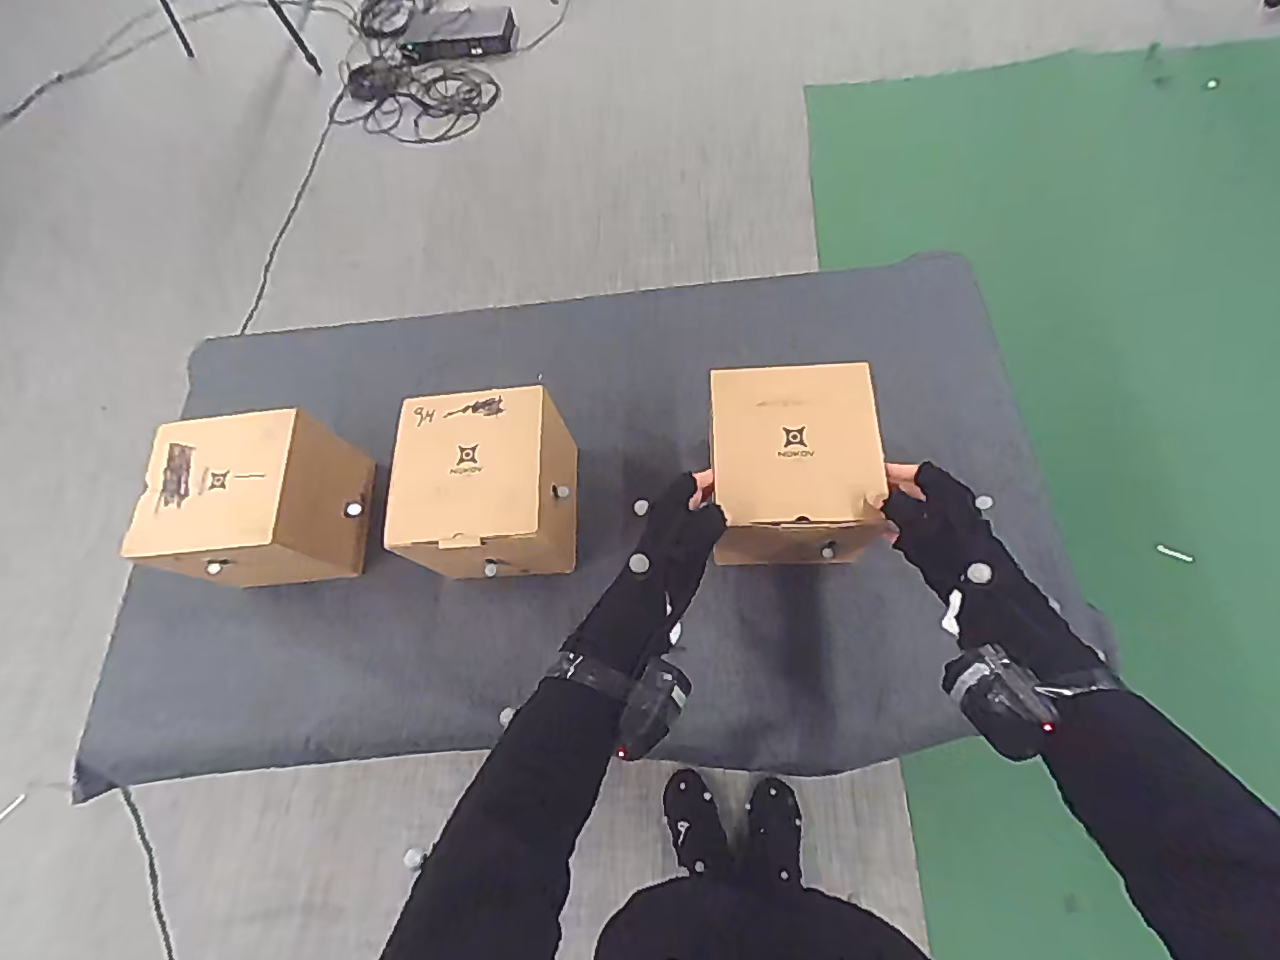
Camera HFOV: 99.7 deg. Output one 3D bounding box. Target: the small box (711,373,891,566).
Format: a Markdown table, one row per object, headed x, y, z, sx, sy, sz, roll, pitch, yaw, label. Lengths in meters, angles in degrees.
| x | y | z | sx | sy | sz | roll | pitch | yaw | label |
| --- | --- | --- | --- | --- | --- | --- | --- | --- | --- |
| 0.167 | -0.001 | 0.621 | 0.168 | 0.176 | 0.179 | -2 | 67 | 6 | small box |

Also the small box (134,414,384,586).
| x | y | z | sx | sy | sz | roll | pitch | yaw | label |
| --- | --- | --- | --- | --- | --- | --- | --- | --- | --- |
| -0.460 | 0.035 | 0.685 | 0.179 | 0.176 | 0.168 | -5 | 68 | 4 | small box |

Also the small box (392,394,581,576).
| x | y | z | sx | sy | sz | roll | pitch | yaw | label |
| --- | --- | --- | --- | --- | --- | --- | --- | --- | --- |
| -0.169 | 0.018 | 0.655 | 0.168 | 0.176 | 0.179 | -4 | 68 | 6 | small box |
